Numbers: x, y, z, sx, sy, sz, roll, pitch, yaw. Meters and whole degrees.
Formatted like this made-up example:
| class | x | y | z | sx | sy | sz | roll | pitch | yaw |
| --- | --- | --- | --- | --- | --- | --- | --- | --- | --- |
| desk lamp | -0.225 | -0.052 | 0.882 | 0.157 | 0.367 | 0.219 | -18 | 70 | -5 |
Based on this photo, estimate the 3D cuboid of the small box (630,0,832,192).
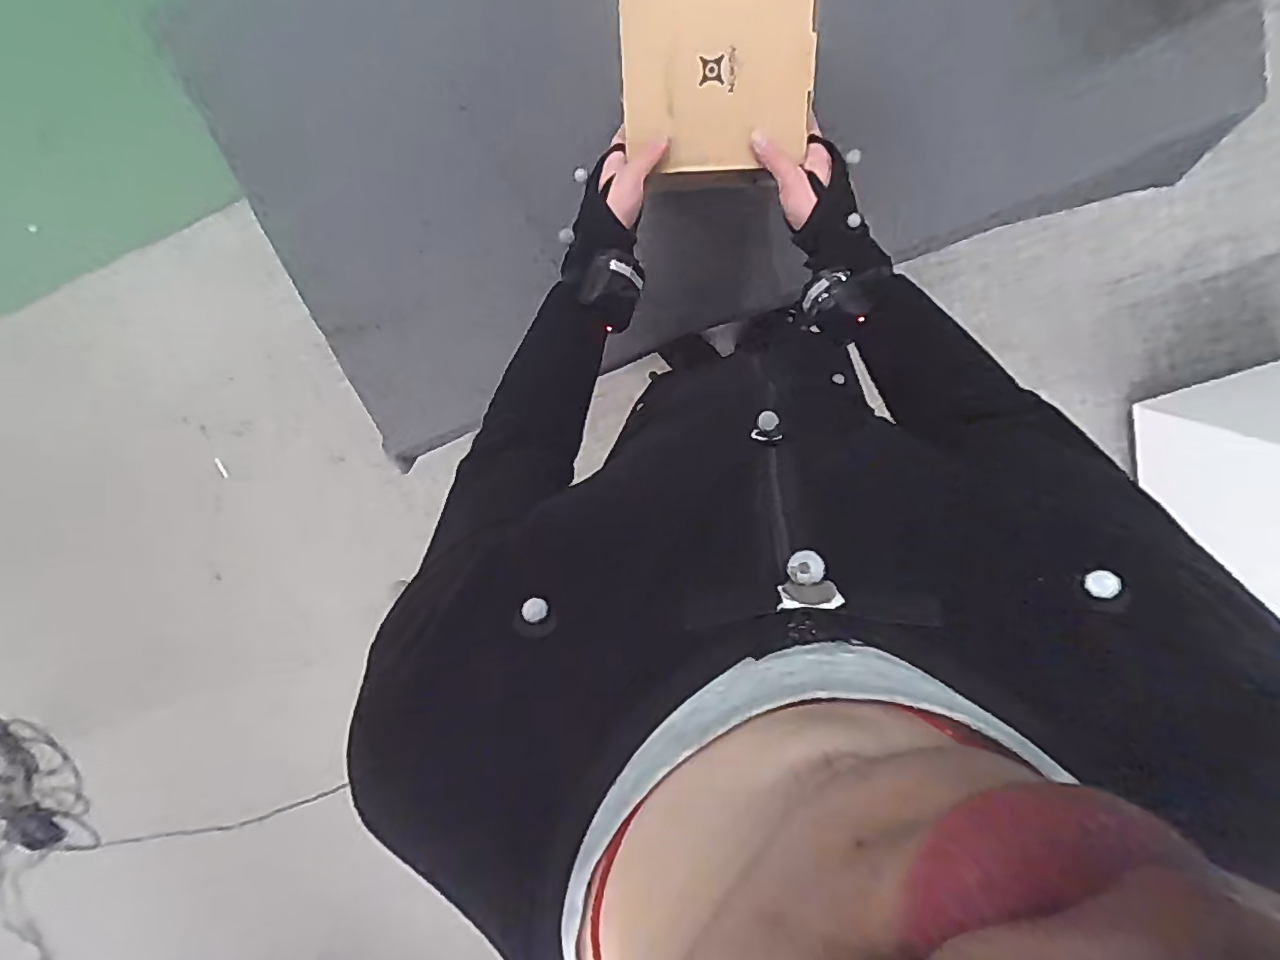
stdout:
| class | x | y | z | sx | sy | sz | roll | pitch | yaw |
| --- | --- | --- | --- | --- | --- | --- | --- | --- | --- |
| small box | 0.086 | -0.400 | 0.559 | 0.179 | 0.176 | 0.168 | 0 | 113 | 6 |
